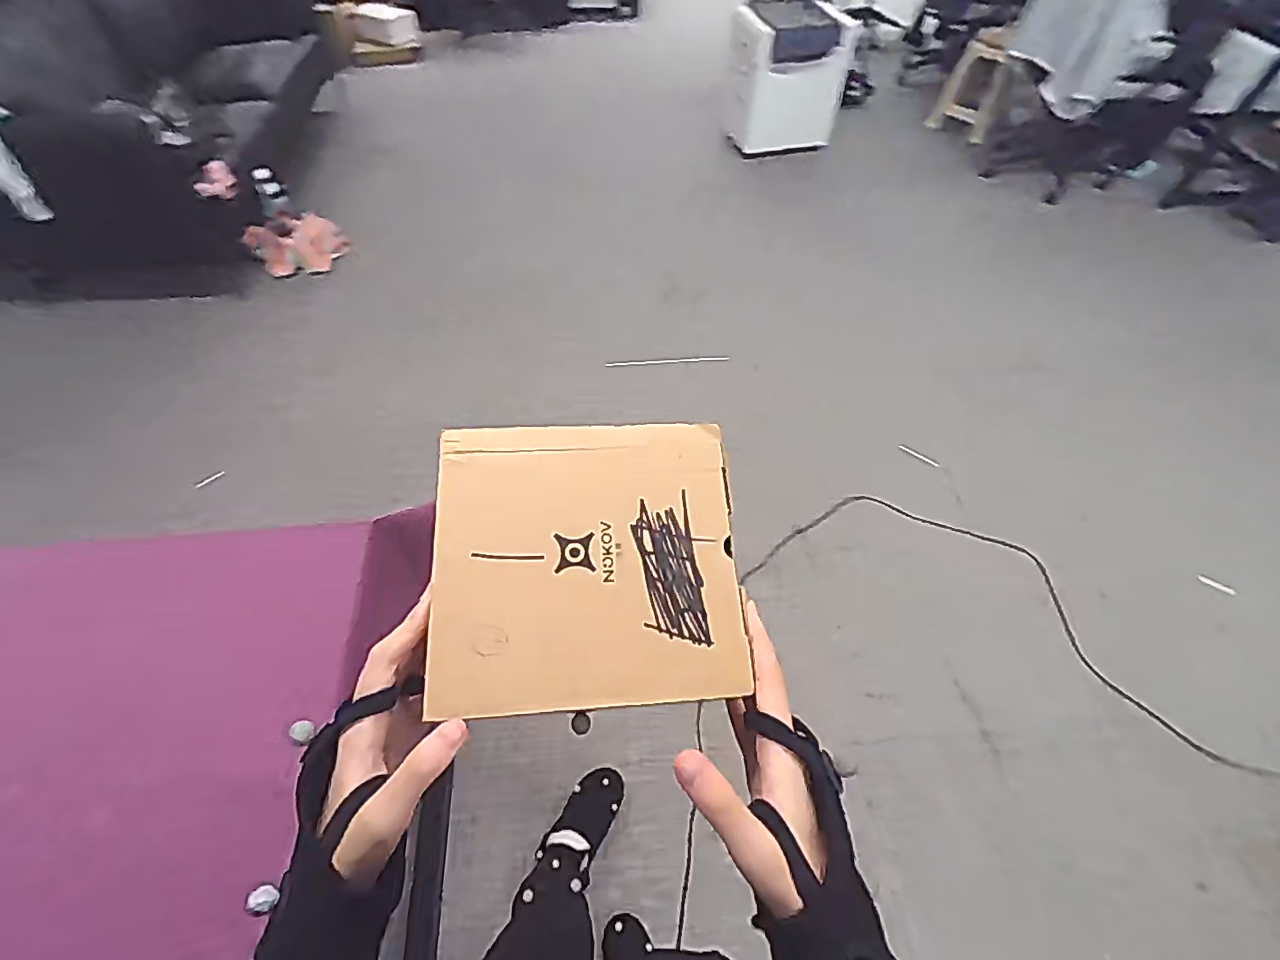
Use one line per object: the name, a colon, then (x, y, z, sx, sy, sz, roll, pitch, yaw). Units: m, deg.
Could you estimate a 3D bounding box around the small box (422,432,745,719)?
small box: (-0.038, 0.075, 0.391, 0.179, 0.176, 0.168, -1, 69, -6)
